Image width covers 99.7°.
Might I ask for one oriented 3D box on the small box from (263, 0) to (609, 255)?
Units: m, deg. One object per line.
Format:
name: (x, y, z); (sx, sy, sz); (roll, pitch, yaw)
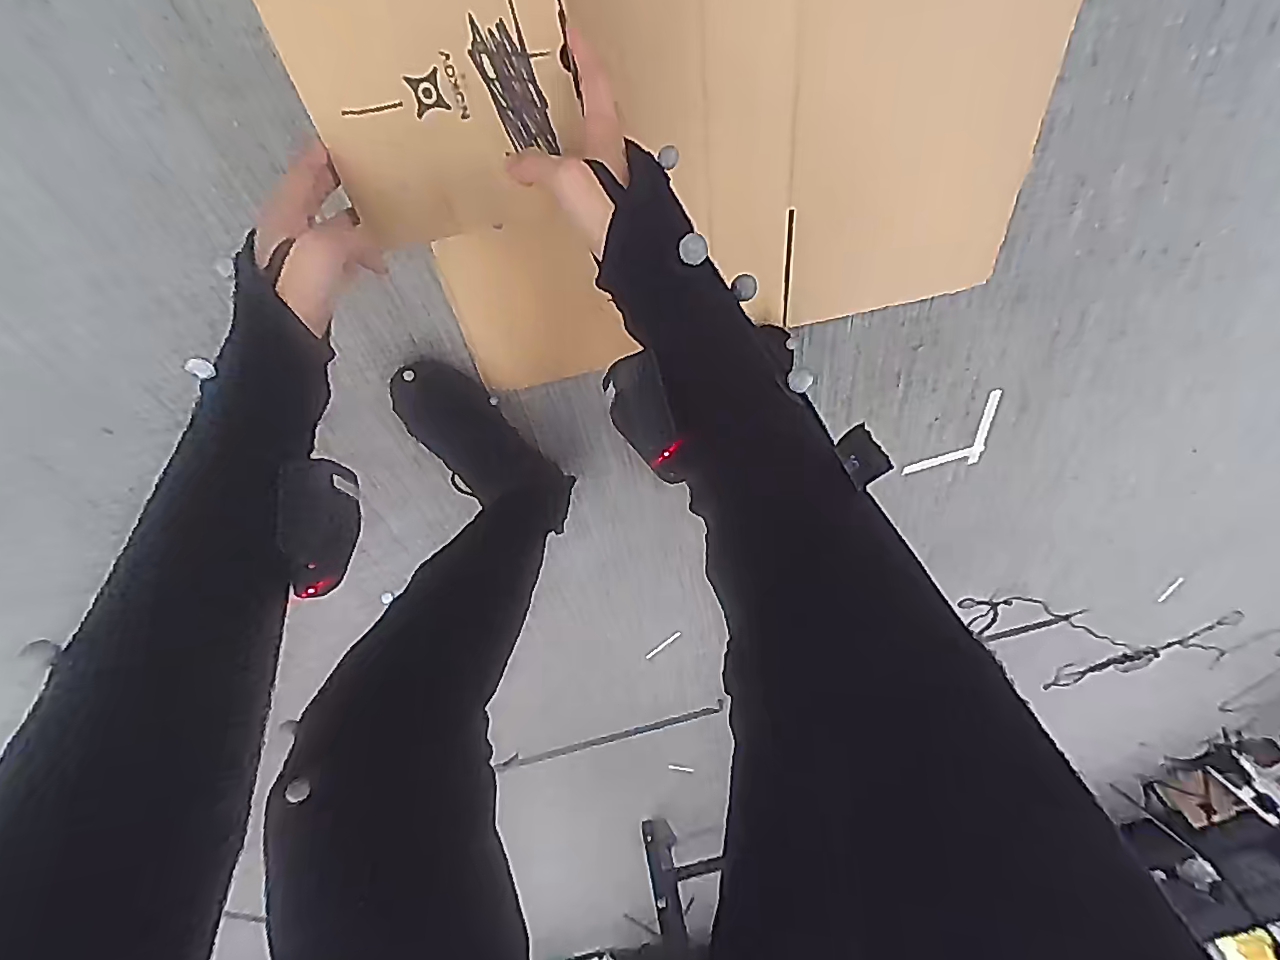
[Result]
small box: (-0.128, -0.296, 0.411); (0.179, 0.176, 0.168); (-11, 128, 5)
